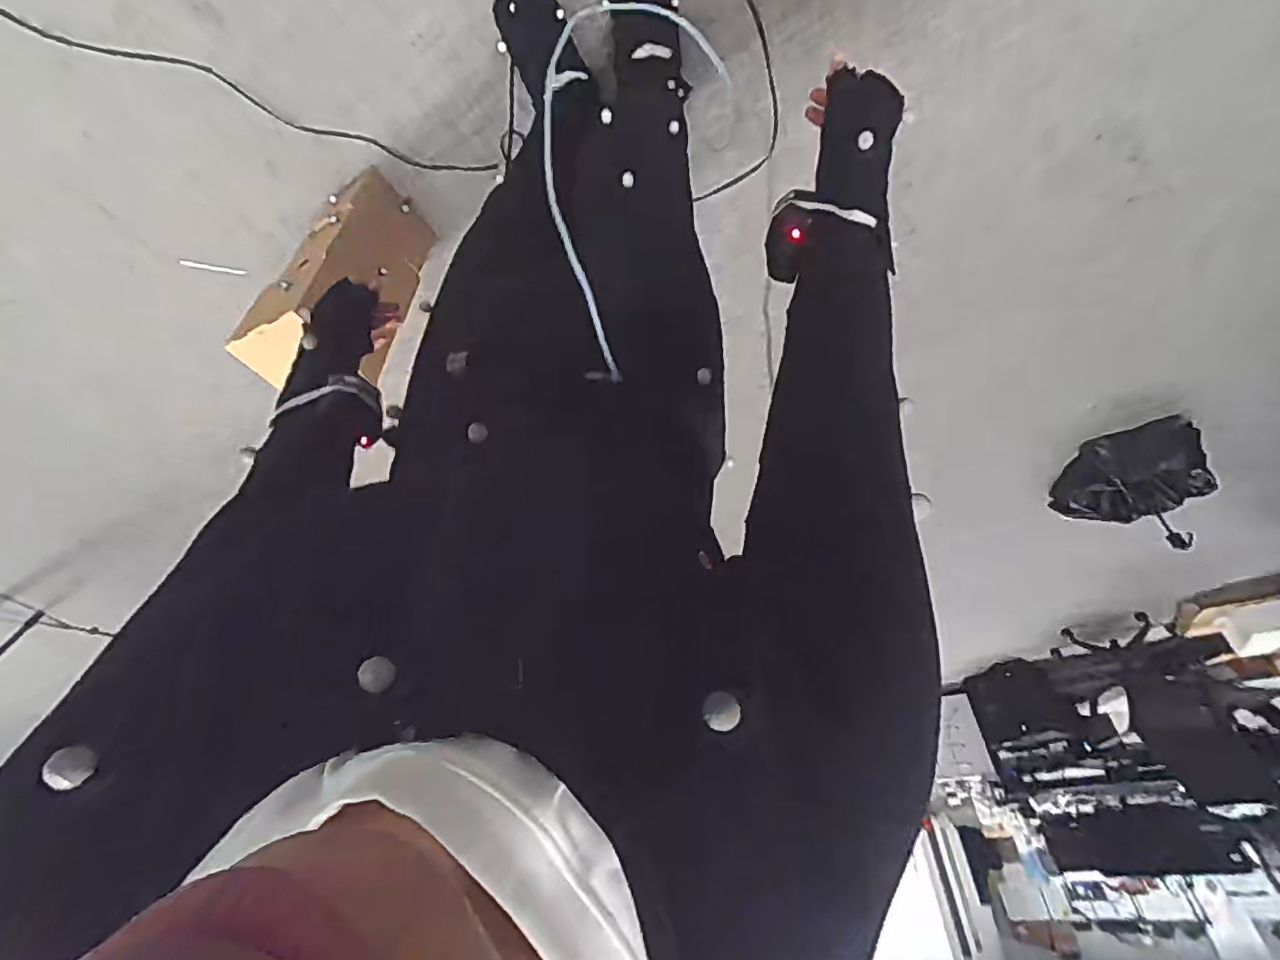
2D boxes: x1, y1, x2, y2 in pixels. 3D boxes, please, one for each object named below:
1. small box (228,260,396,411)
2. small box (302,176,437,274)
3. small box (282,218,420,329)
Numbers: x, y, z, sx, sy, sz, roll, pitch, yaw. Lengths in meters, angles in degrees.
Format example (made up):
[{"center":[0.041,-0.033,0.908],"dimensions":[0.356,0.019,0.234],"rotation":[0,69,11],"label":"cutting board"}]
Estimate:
[{"center":[-0.582,-0.261,0.987],"dimensions":[0.168,0.176,0.179],"rotation":[-16,140,18],"label":"small box"},{"center":[-0.580,-0.528,1.180],"dimensions":[0.168,0.176,0.179],"rotation":[-19,138,26],"label":"small box"},{"center":[-0.577,-0.392,1.084],"dimensions":[0.168,0.176,0.179],"rotation":[-20,140,22],"label":"small box"}]
